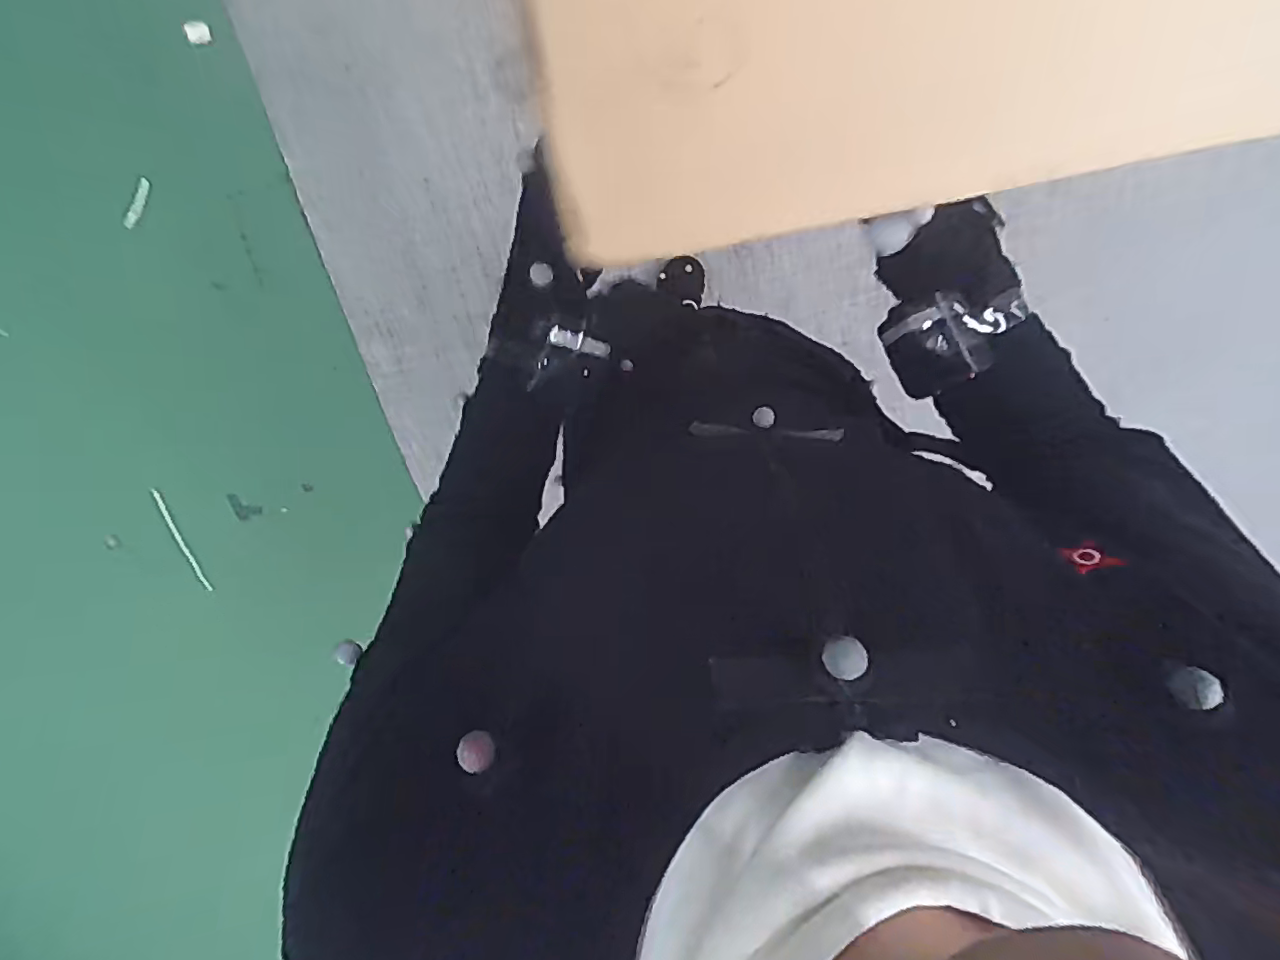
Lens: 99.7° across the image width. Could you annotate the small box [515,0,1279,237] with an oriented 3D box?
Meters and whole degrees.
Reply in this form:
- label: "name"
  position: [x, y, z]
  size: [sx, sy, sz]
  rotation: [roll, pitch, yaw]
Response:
- label: "small box"
  position: [0.053, -0.169, 0.136]
  size: [0.179, 0.176, 0.168]
  rotation: [-11, 120, 2]
